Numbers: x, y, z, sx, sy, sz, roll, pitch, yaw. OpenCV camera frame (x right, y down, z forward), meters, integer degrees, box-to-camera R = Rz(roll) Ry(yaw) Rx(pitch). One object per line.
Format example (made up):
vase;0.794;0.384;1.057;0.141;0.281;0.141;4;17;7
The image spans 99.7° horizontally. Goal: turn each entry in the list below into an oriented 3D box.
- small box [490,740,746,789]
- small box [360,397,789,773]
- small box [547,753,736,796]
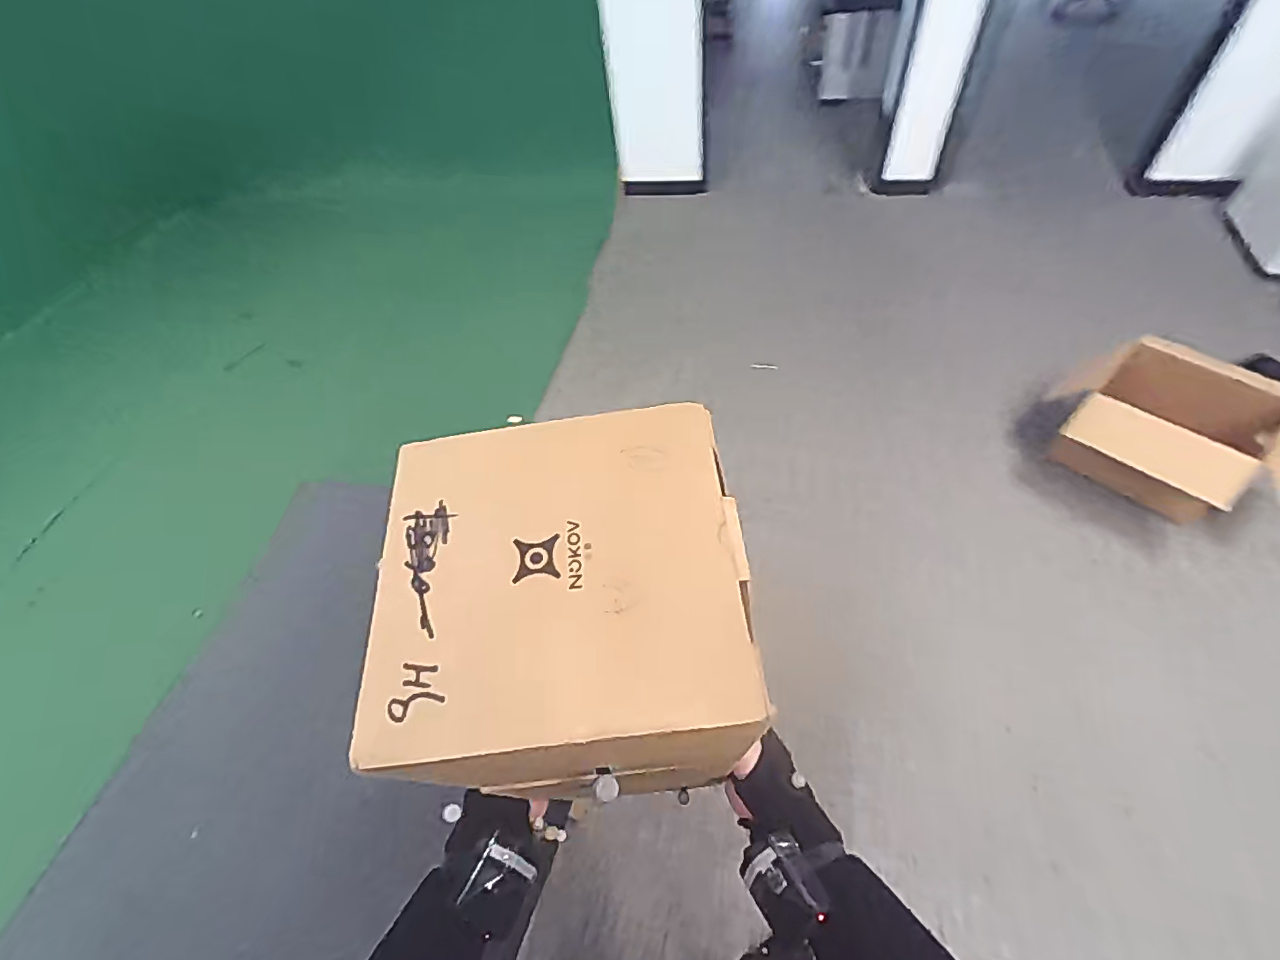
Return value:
small box;-0.015;0.160;0.462;0.179;0.176;0.168;-7;58;1
small box;-0.027;0.073;0.324;0.179;0.176;0.168;-6;58;1
small box;0.002;0.247;0.600;0.179;0.176;0.168;-8;57;3
